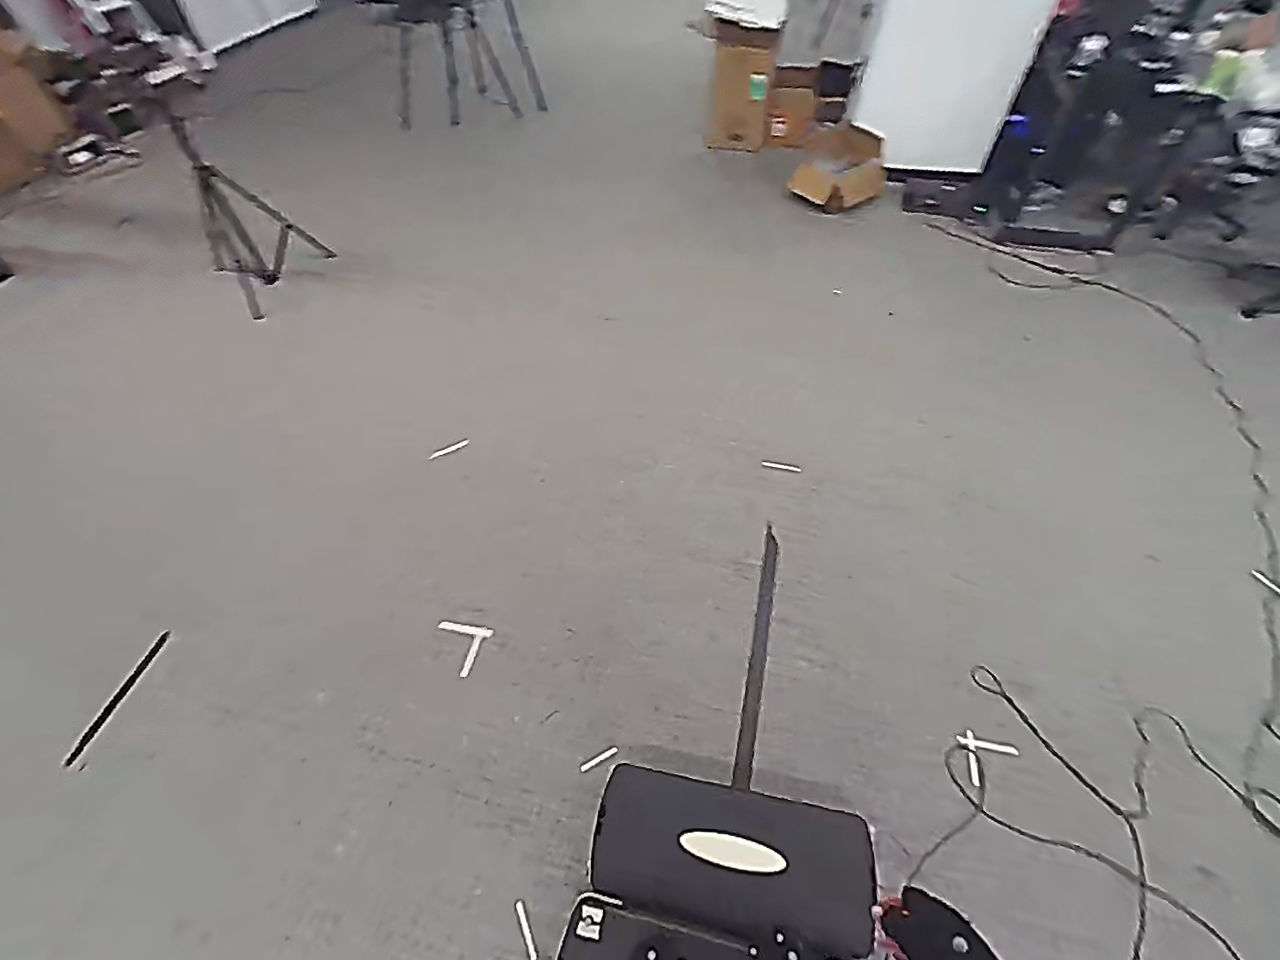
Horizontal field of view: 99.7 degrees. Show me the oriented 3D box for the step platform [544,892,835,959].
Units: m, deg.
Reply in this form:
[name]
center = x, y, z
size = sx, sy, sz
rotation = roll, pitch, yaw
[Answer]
[step platform]
center = 0.124, 1.105, 1.117
size = 0.684, 0.204, 0.286
rotation = 8, 53, 9
